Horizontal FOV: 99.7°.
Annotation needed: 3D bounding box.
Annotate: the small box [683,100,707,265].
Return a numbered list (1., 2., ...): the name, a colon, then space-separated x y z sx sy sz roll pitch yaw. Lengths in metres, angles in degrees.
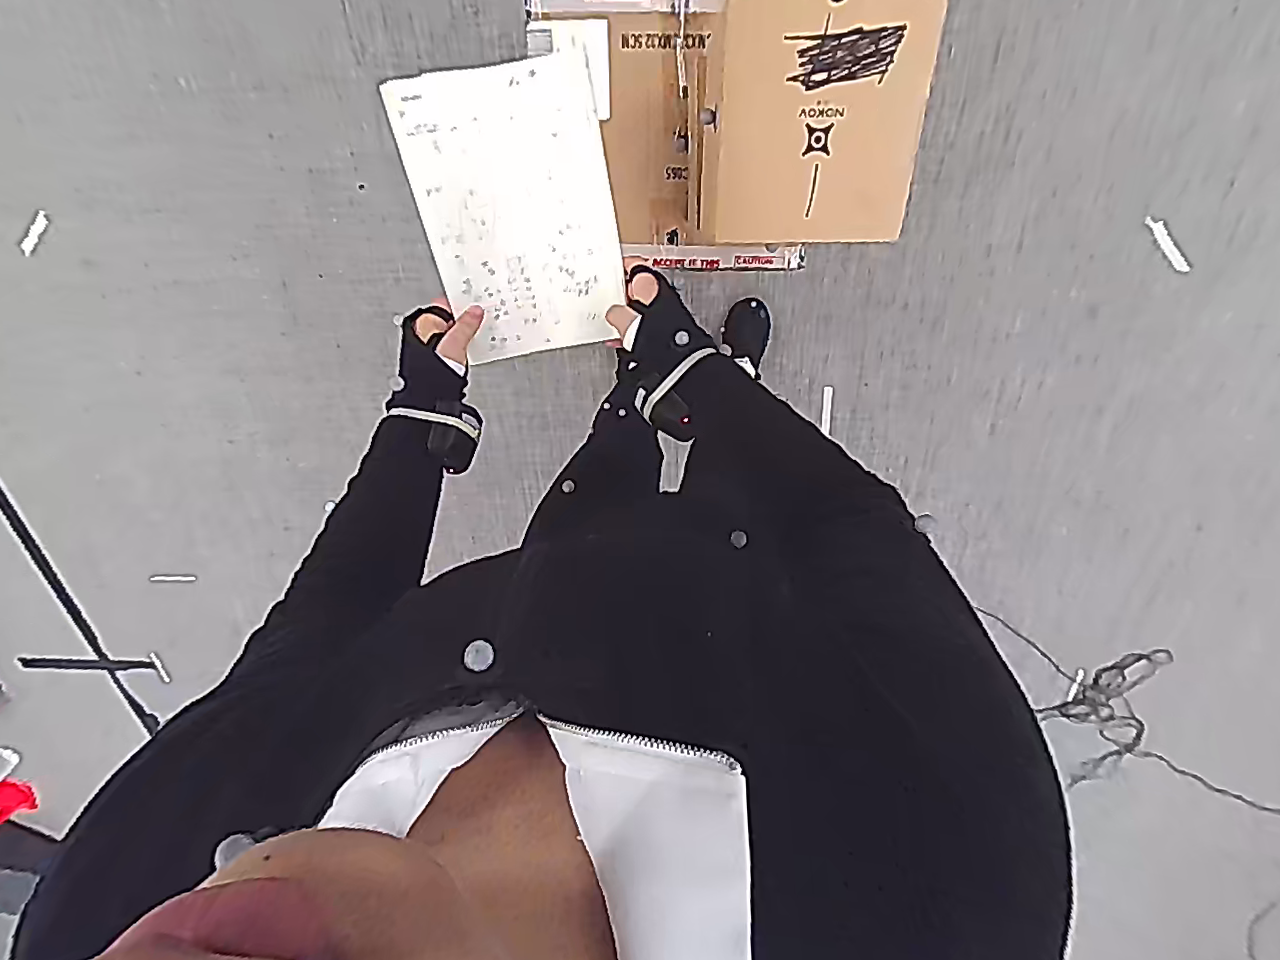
1. small box: 0.147 -0.368 0.673 0.179 0.176 0.168 -2 118 3

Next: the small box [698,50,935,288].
1. small box: 0.148 -0.291 0.528 0.168 0.176 0.179 0 119 0
